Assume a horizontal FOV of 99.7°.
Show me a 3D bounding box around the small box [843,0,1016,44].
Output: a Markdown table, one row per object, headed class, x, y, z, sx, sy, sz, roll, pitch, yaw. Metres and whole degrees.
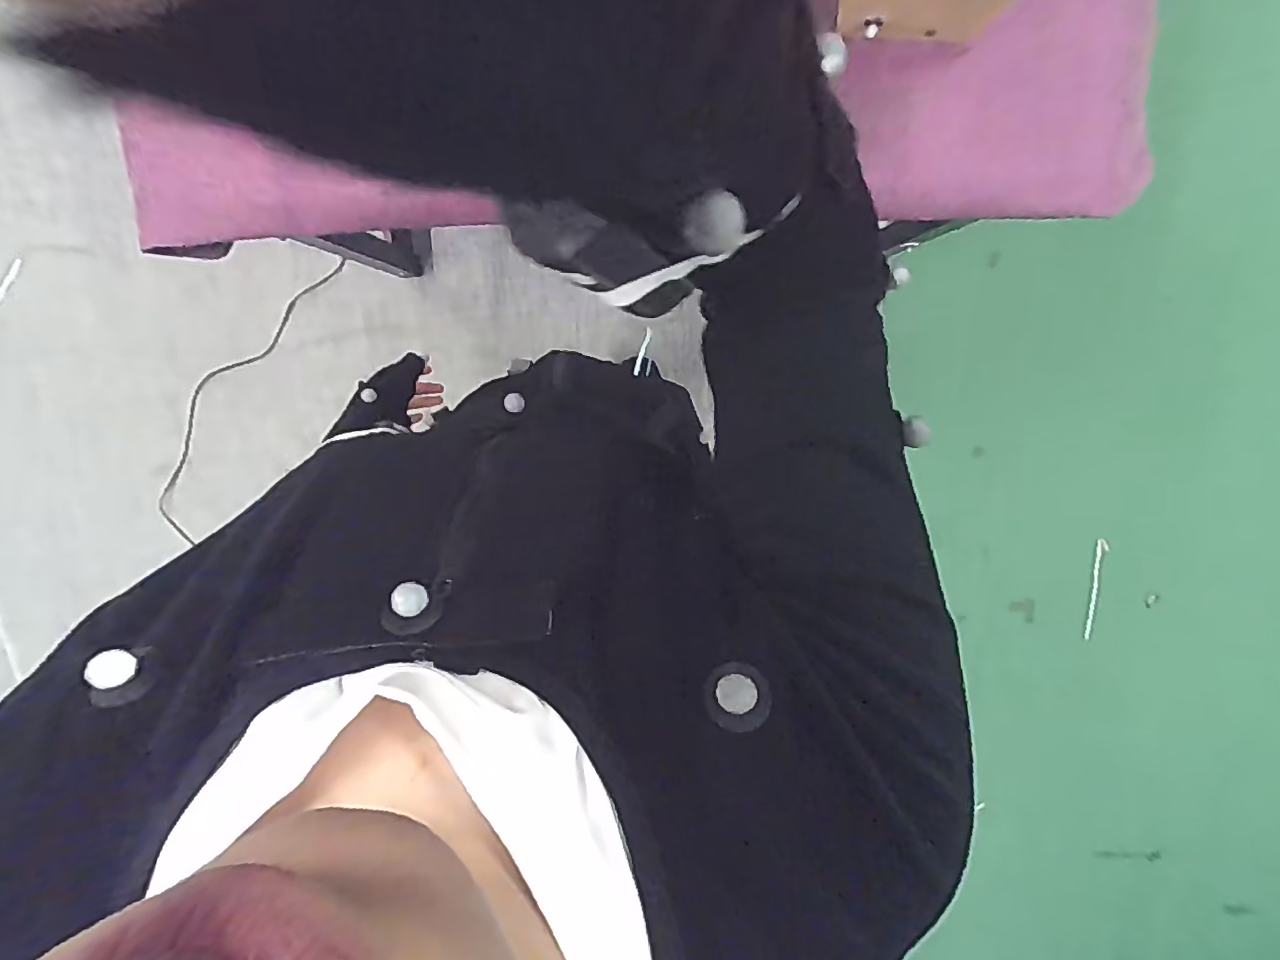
| class | x | y | z | sx | sy | sz | roll | pitch | yaw |
| --- | --- | --- | --- | --- | --- | --- | --- | --- | --- |
| small box | 0.318 | -0.577 | 0.534 | 0.168 | 0.176 | 0.179 | 4 | 102 | -2 |
